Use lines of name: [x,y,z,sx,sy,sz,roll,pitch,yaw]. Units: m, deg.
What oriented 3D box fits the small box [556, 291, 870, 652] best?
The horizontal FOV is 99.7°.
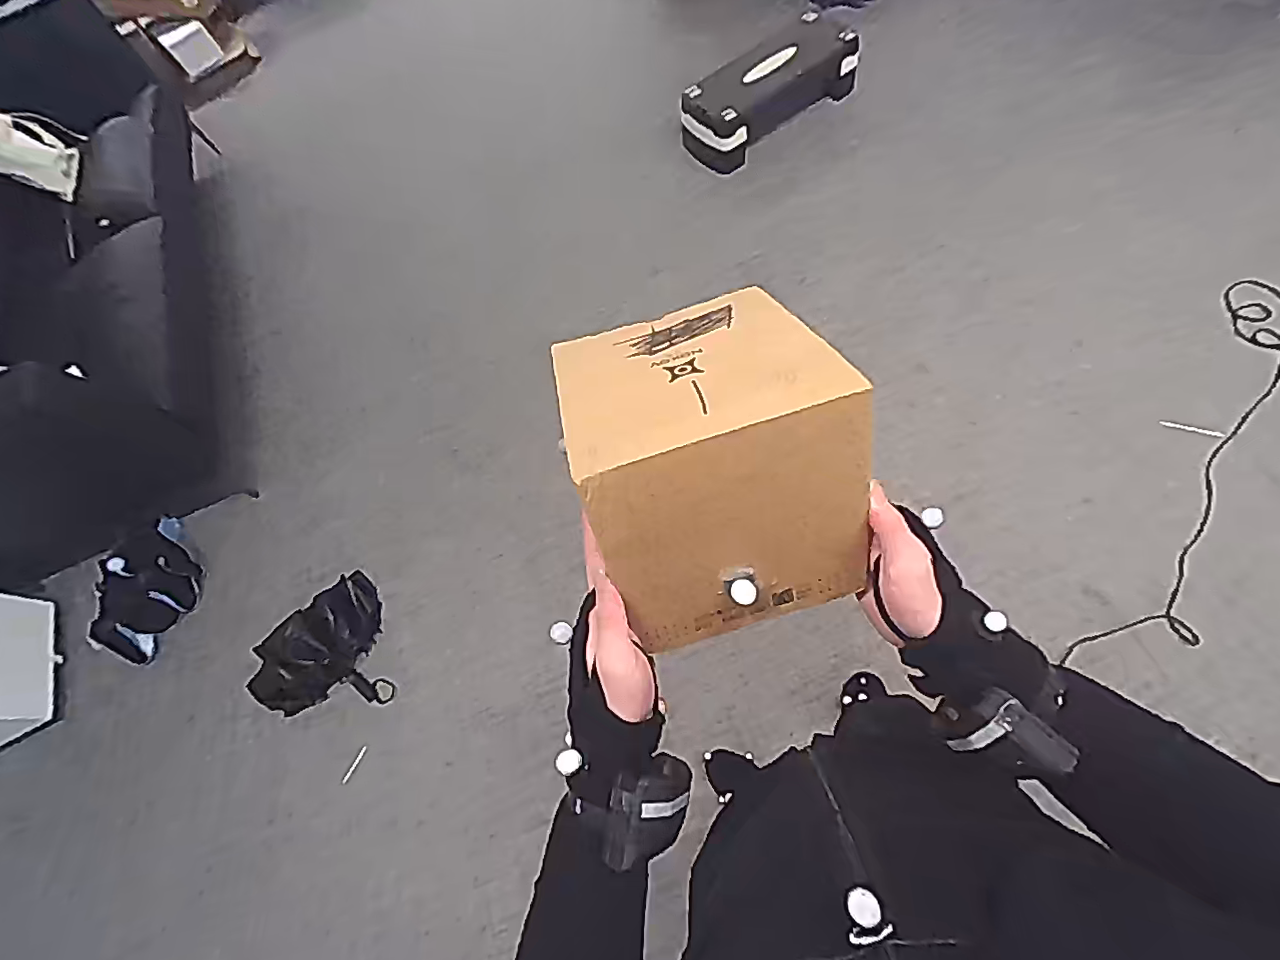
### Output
small box: [0.045,-0.010,0.394,0.168,0.176,0.179,-17,39,1]
